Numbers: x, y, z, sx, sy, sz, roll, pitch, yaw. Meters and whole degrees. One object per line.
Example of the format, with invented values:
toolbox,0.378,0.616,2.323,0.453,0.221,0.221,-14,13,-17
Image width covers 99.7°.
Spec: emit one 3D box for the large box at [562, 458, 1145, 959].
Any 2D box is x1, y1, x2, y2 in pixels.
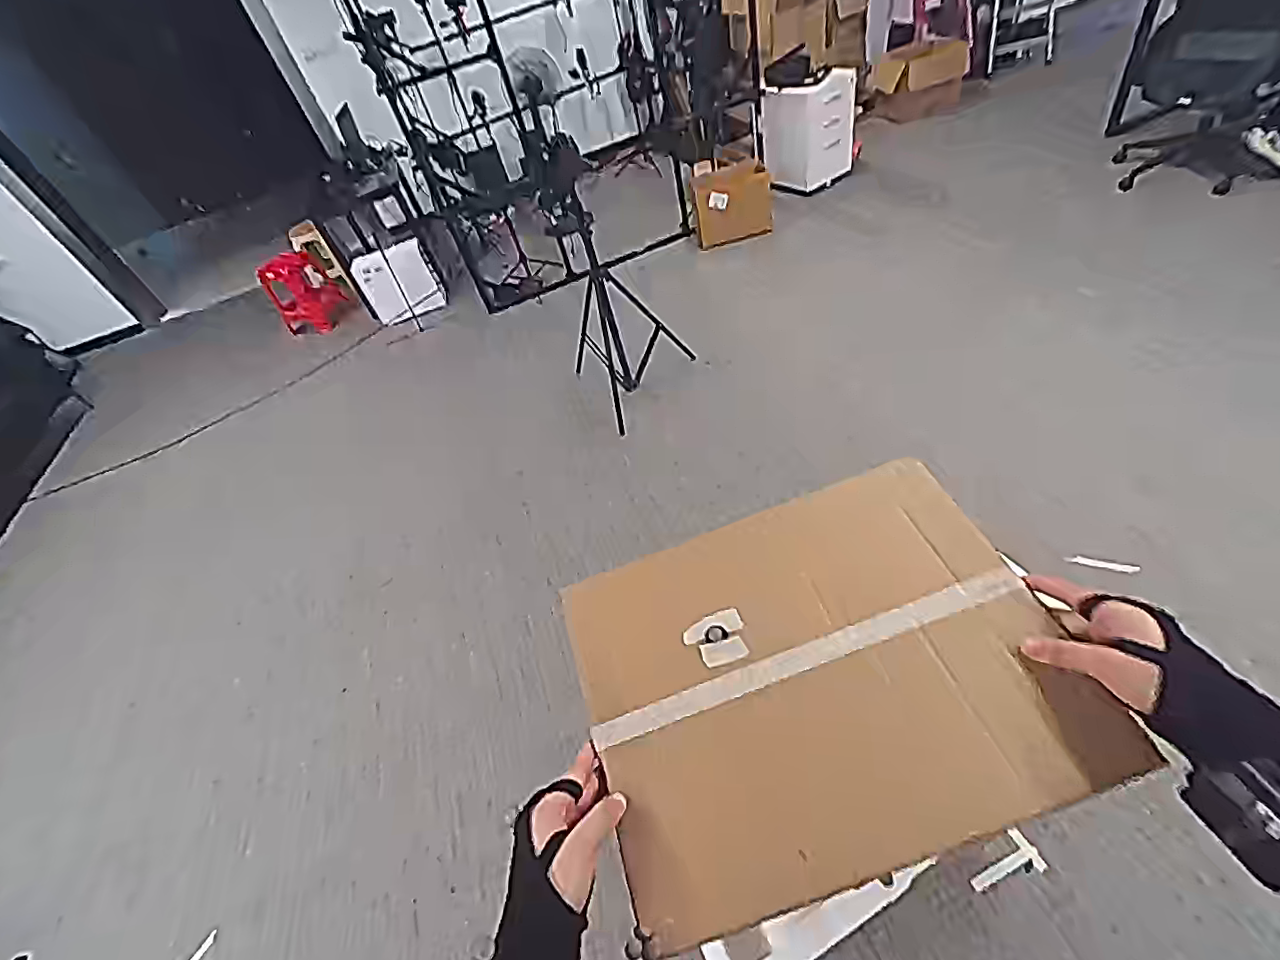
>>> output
large box,0.180,0.245,0.599,0.408,0.320,0.320,-23,51,0
